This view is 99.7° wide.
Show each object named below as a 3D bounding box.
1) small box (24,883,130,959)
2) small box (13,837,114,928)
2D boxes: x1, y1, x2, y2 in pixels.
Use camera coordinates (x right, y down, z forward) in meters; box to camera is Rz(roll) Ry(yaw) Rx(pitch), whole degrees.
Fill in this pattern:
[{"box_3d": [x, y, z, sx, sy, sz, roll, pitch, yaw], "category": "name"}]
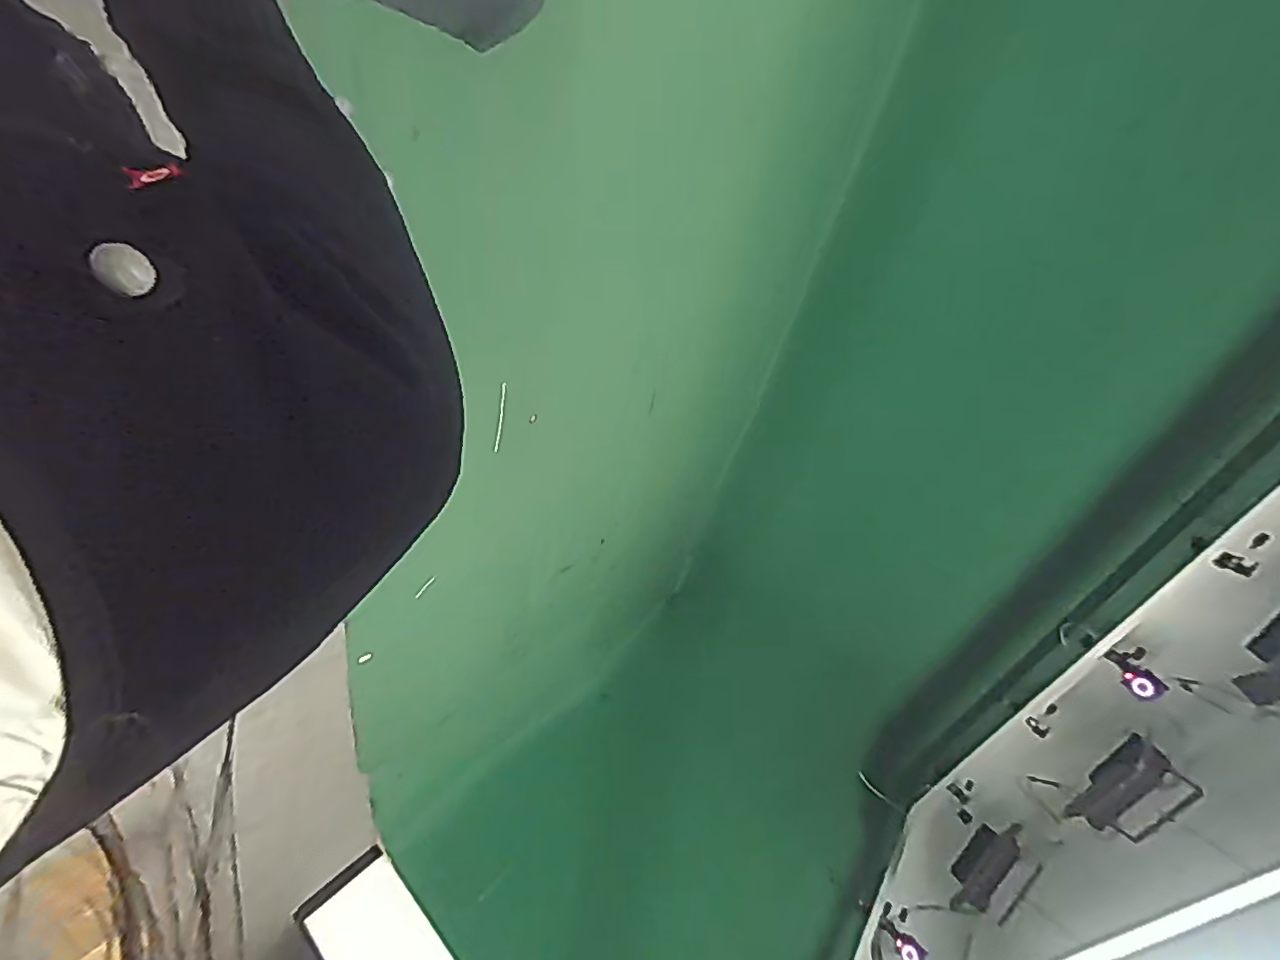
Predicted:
[{"box_3d": [-1.677, 1.360, 1.614, 0.168, 0.176, 0.179, -27, 142, -48], "category": "small box"}, {"box_3d": [-1.795, 1.272, 1.682, 0.179, 0.176, 0.168, -23, 141, -48], "category": "small box"}]
